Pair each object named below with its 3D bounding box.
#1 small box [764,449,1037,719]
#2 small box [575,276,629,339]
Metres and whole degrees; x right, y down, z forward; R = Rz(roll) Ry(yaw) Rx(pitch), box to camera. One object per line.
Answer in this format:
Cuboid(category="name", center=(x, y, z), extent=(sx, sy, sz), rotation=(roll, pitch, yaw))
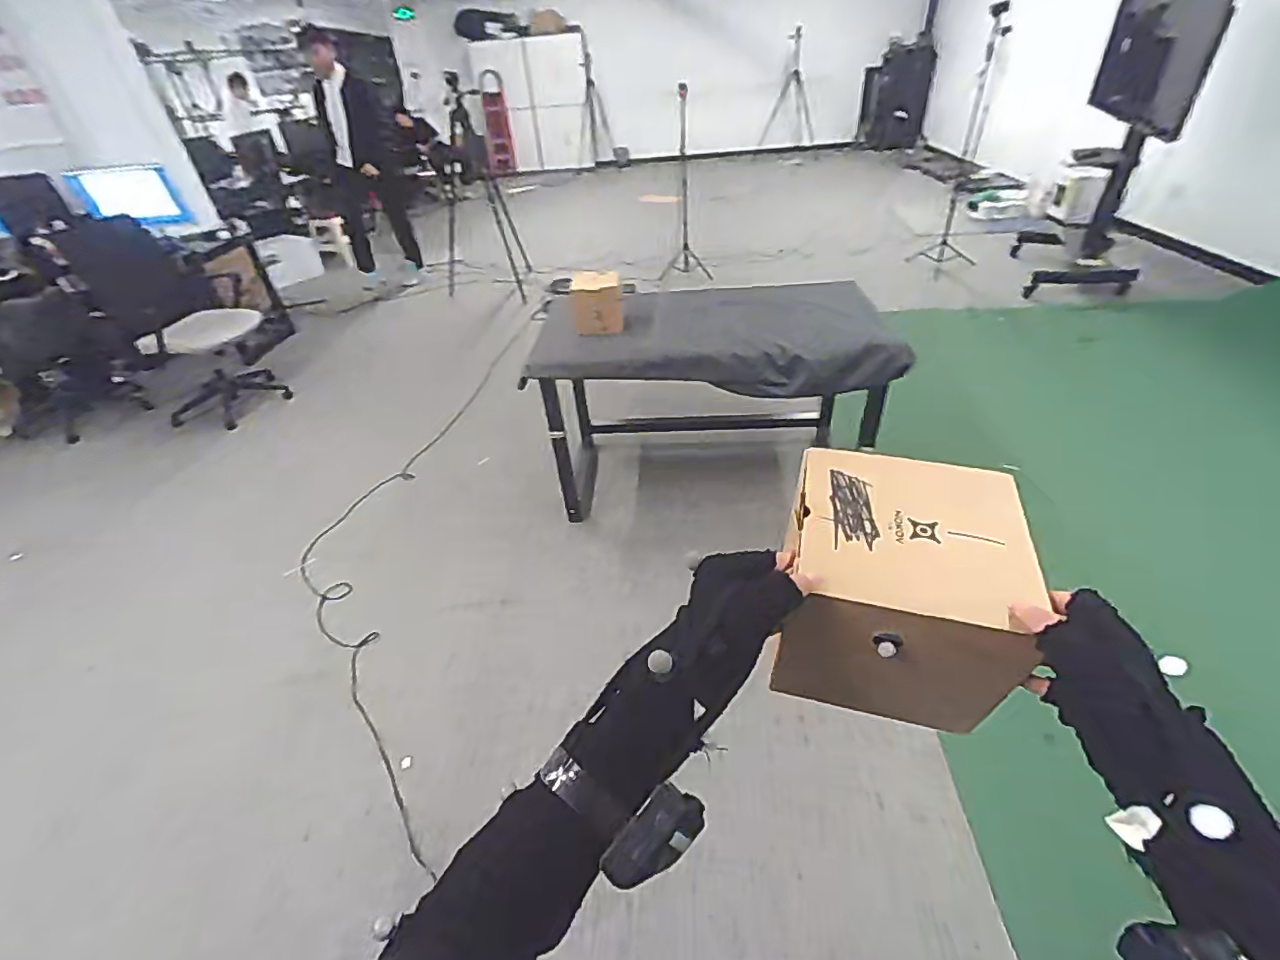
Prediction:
Cuboid(category="small box", center=(0.214, 0.095, 0.497), extent=(0.179, 0.176, 0.168), rotation=(9, 46, 13))
Cuboid(category="small box", center=(-0.131, -0.618, 1.953), extent=(0.168, 0.176, 0.179), rotation=(-3, 38, 4))
